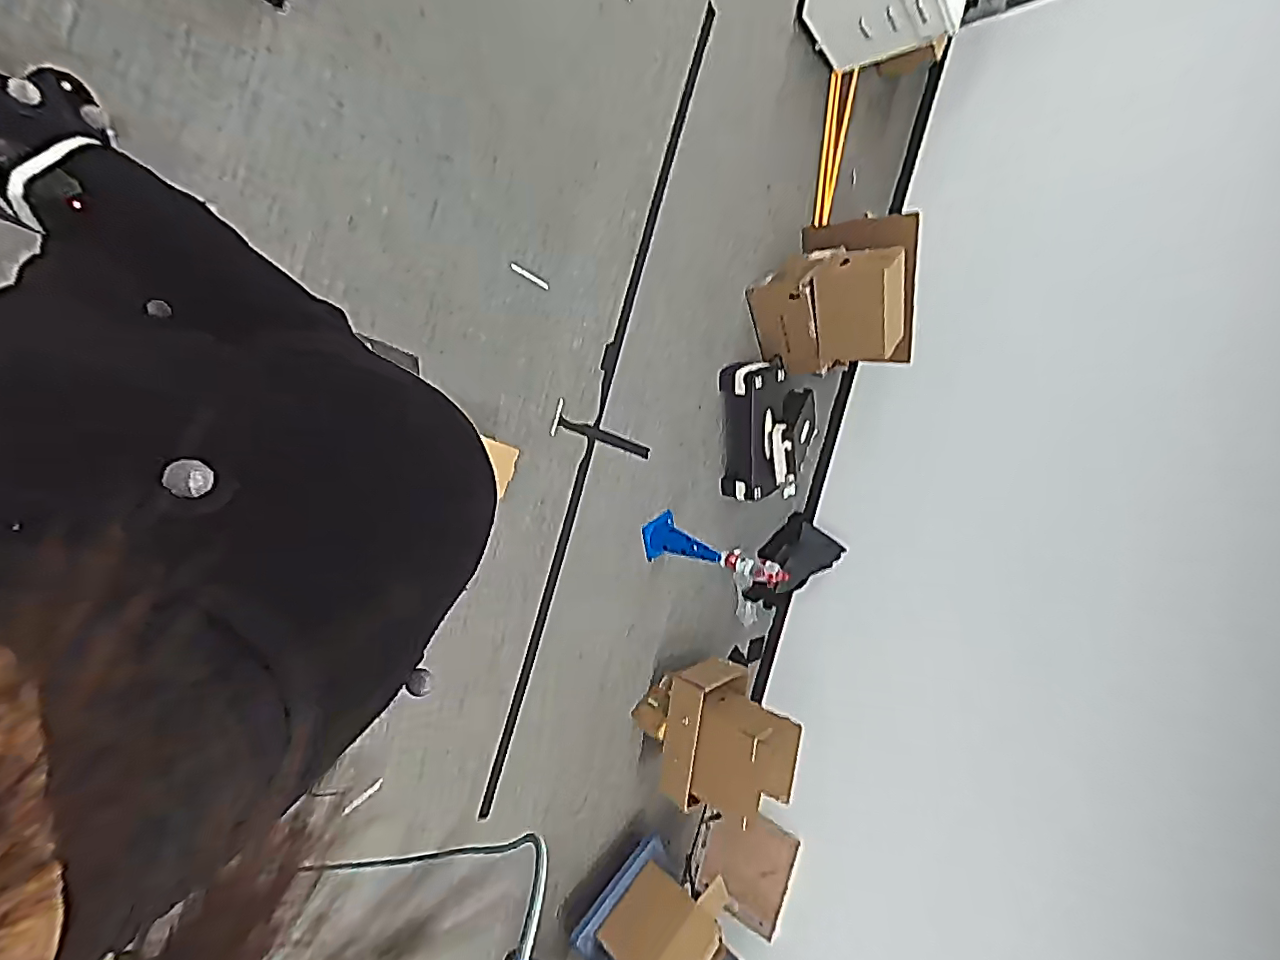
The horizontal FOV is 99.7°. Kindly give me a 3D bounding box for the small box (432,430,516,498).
[{"bbox_3d":[-0.532,-0.055,1.720,0.179,0.176,0.168,23,85,-47],"label":"small box"}]
